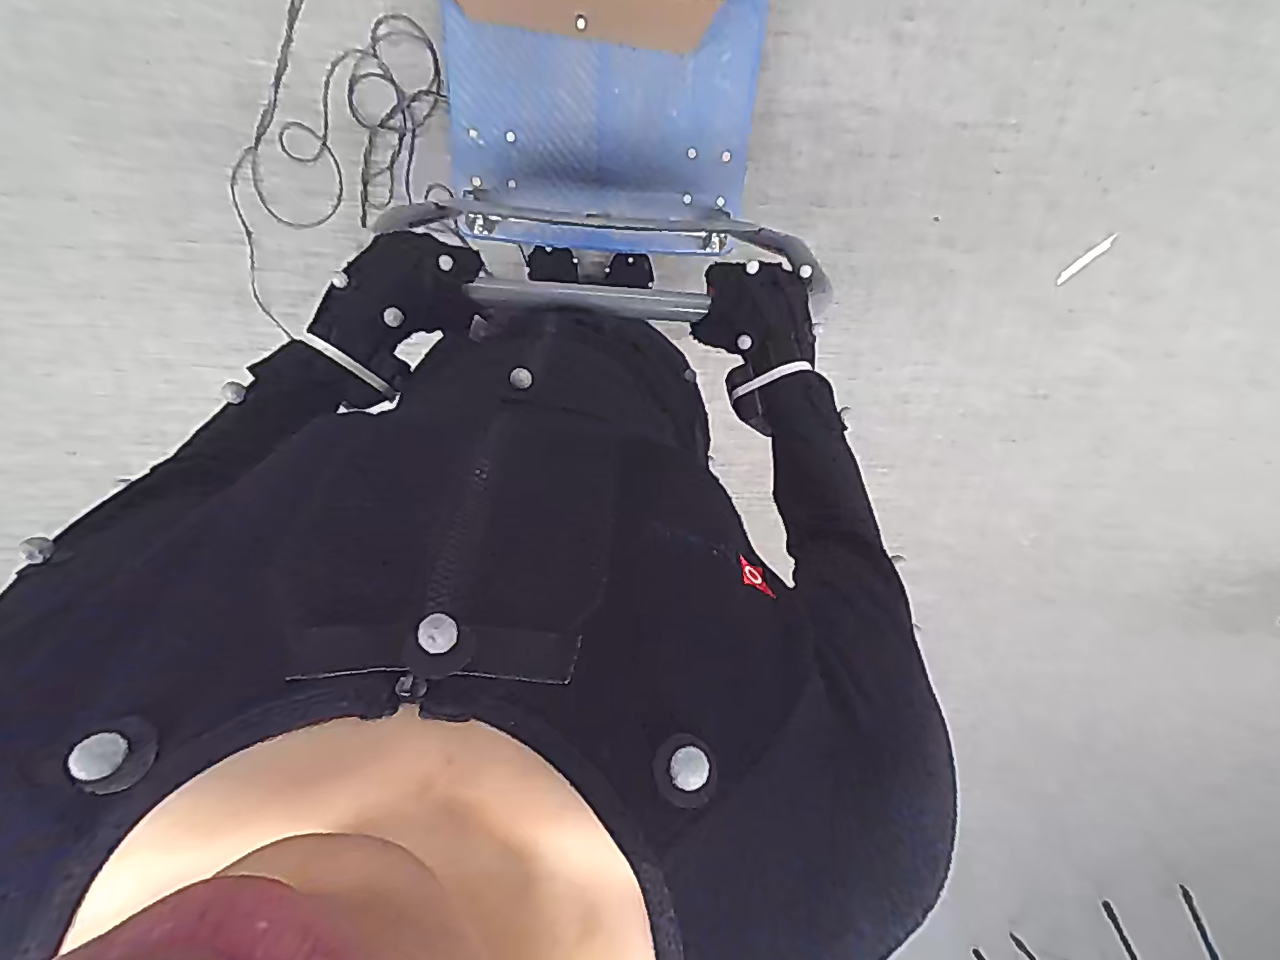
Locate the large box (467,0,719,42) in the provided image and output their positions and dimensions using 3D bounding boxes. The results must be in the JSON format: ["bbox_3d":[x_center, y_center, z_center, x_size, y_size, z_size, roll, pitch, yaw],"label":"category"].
[{"bbox_3d":[-0.074,-0.877,0.778,0.408,0.320,0.320,4,116,-5],"label":"large box"}]
